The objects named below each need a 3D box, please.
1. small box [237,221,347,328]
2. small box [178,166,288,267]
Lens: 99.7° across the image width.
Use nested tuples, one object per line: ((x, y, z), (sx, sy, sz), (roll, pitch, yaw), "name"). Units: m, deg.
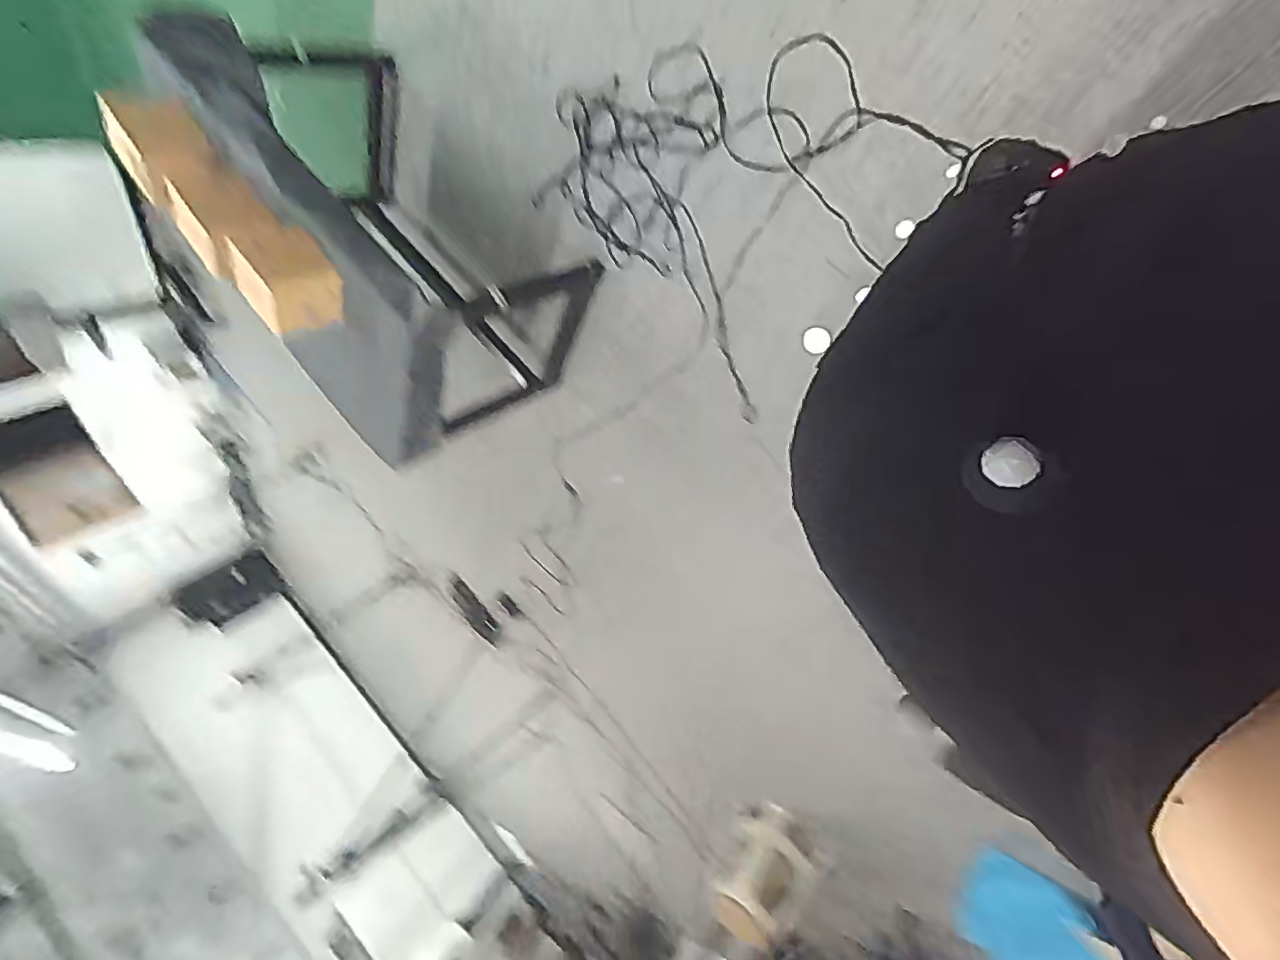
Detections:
((-0.859, -0.520, 1.355), (0.179, 0.176, 0.168), (49, 142, 8), "small box")
((-1.075, -0.705, 1.440), (0.179, 0.176, 0.168), (53, 142, 0), "small box")
